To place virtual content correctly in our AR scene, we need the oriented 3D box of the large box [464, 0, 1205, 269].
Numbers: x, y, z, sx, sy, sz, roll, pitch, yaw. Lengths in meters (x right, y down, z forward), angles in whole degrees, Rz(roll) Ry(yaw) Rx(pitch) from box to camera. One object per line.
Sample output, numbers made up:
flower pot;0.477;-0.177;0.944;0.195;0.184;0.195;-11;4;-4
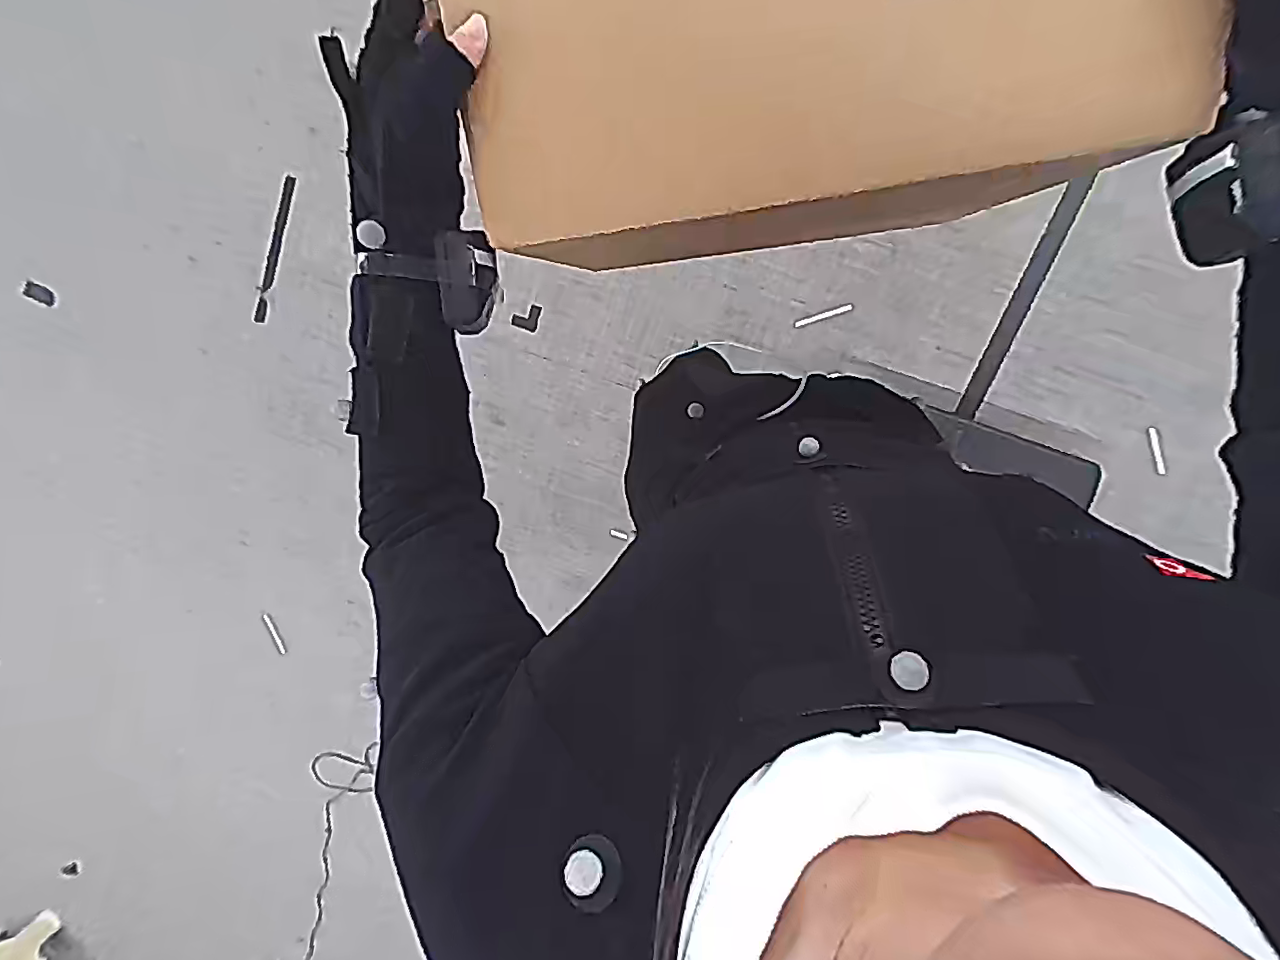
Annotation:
large box;0.103;-0.368;0.426;0.408;0.320;0.320;-5;108;8
